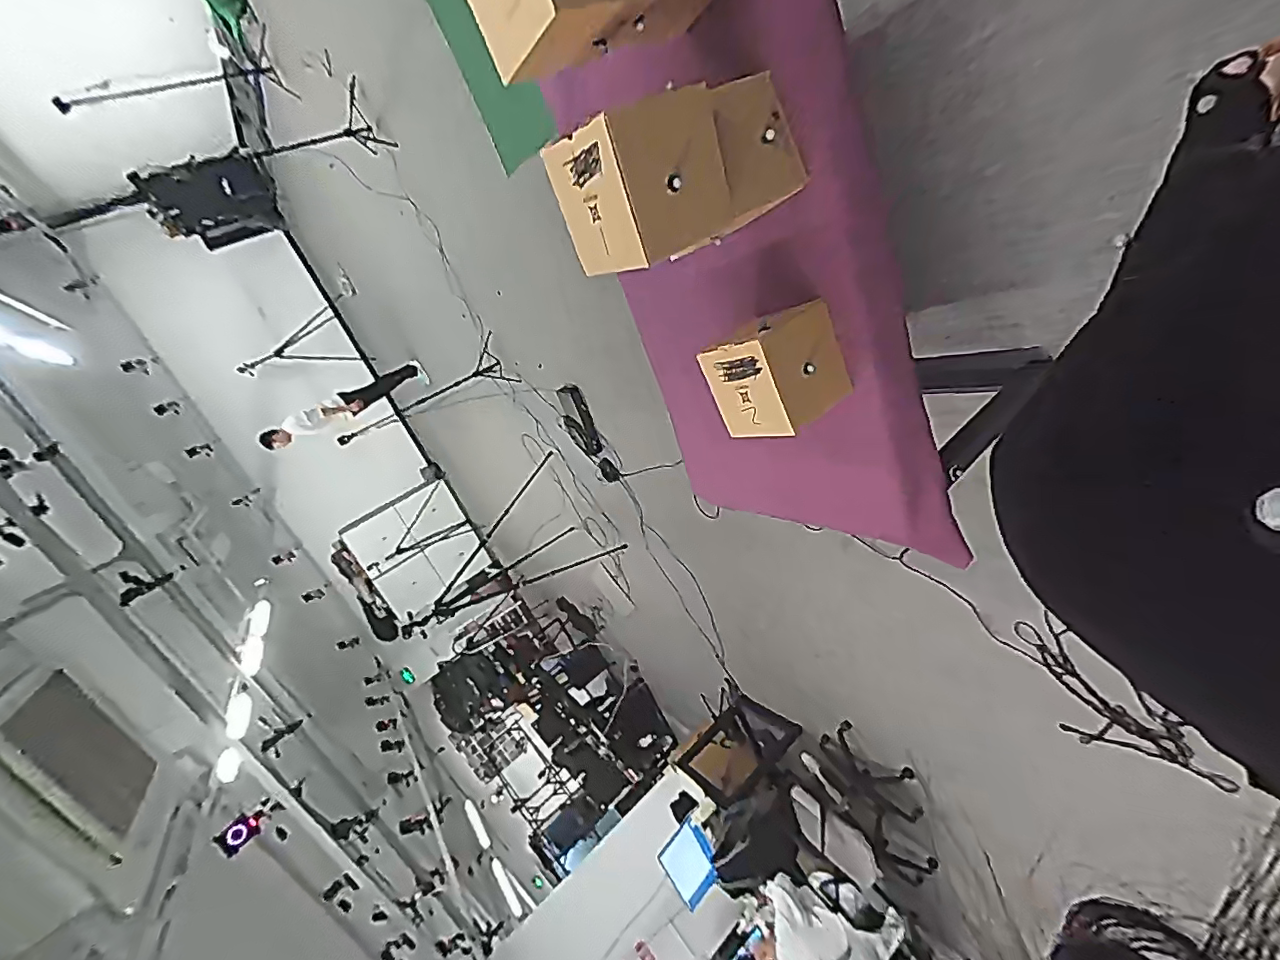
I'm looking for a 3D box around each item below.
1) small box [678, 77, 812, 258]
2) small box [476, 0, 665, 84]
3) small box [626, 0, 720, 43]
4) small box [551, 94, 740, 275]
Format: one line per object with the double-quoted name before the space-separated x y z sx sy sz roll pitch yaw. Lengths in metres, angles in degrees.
"small box" 0.130 -0.480 0.843 0.179 0.176 0.168 0 122 62
"small box" -0.098 -0.635 0.664 0.168 0.176 0.179 13 133 56
"small box" 0.023 -0.730 0.721 0.168 0.176 0.179 5 126 60
"small box" 0.012 -0.406 0.751 0.168 0.176 0.179 21 140 53
